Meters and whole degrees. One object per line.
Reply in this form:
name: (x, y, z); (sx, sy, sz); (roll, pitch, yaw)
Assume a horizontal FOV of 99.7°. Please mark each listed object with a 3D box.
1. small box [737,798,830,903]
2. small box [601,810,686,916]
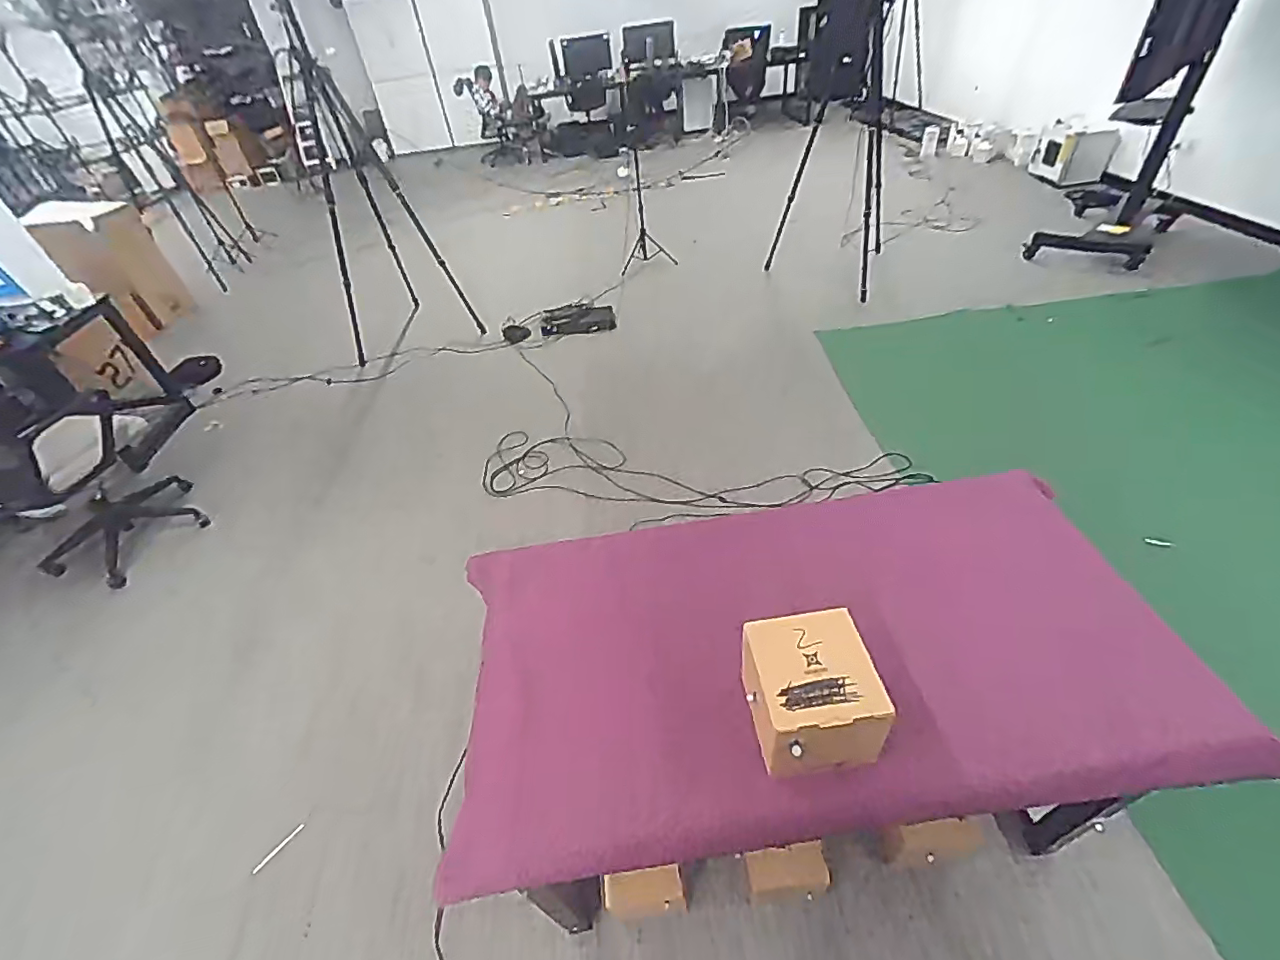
small box: (0.332, 0.884, 1.289); (0.179, 0.176, 0.168); (-9, 42, 1)
small box: (0.009, 0.924, 1.301); (0.179, 0.176, 0.168); (-9, 43, 0)
